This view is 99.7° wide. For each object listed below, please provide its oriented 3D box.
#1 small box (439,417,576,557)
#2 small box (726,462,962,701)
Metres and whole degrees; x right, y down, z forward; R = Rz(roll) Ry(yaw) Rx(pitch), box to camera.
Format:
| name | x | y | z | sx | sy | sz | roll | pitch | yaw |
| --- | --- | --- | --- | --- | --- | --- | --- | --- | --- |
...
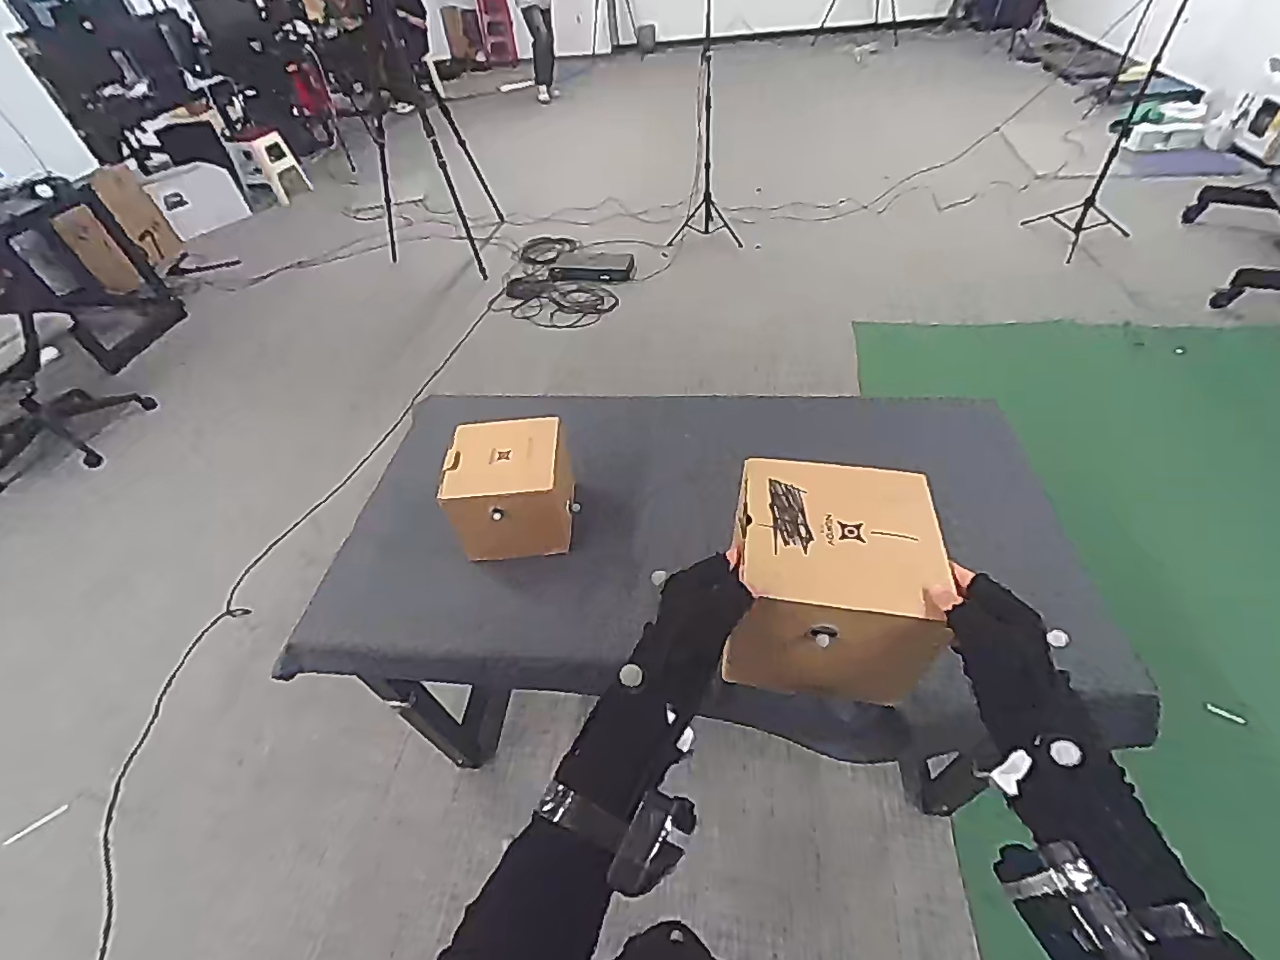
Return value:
| name | x | y | z | sx | sy | sz | roll | pitch | yaw |
| --- | --- | --- | --- | --- | --- | --- | --- | --- | --- |
| small box | -0.211 | 0.016 | 0.911 | 0.179 | 0.176 | 0.168 | -4 | 48 | 1 |
| small box | 0.184 | 0.104 | 0.546 | 0.179 | 0.176 | 0.168 | 7 | 47 | 7 |
